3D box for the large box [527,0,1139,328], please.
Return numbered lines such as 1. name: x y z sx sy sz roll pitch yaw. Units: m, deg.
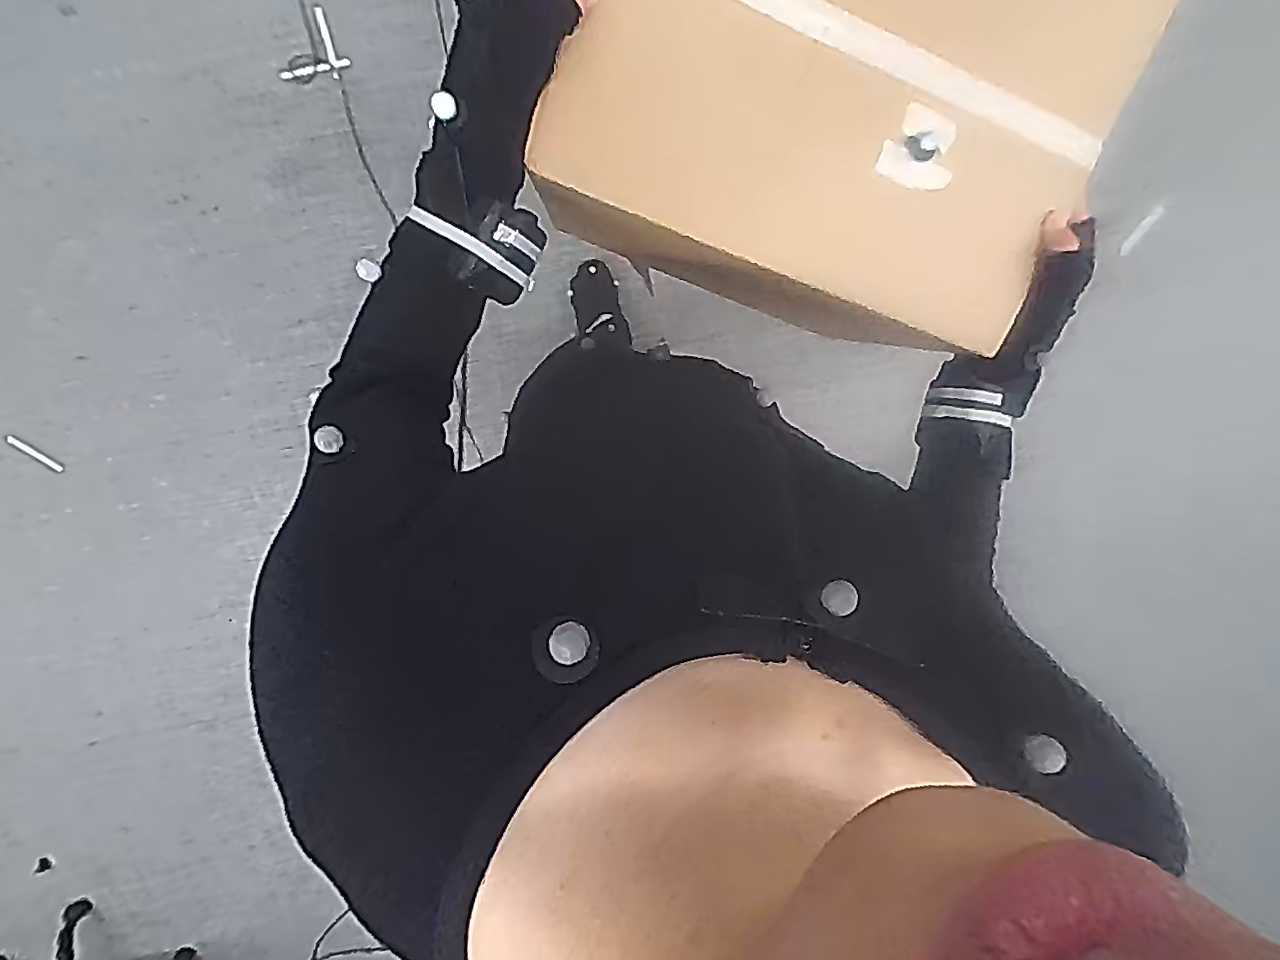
1. large box: 0.134 -0.360 0.529 0.408 0.320 0.320 16 105 -10
